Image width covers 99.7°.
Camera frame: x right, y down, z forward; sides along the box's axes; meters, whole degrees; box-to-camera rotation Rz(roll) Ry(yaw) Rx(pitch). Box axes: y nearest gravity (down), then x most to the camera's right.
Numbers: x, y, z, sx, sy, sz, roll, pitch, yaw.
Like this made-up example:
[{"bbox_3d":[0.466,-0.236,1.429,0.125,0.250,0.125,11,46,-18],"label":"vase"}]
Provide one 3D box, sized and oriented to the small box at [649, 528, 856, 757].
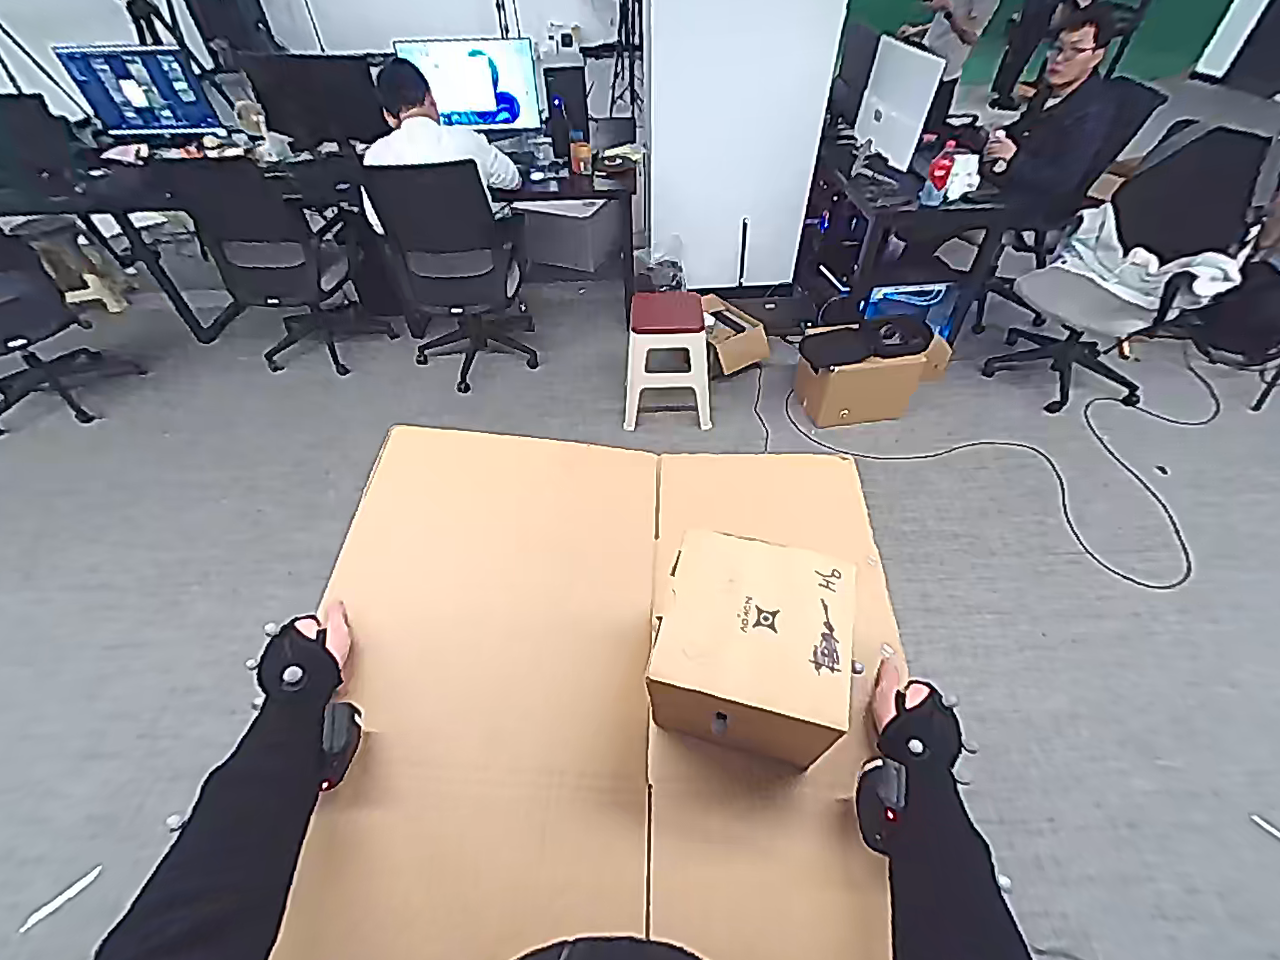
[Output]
[{"bbox_3d":[0.119,0.177,0.580,0.179,0.176,0.168,10,54,13],"label":"small box"}]
